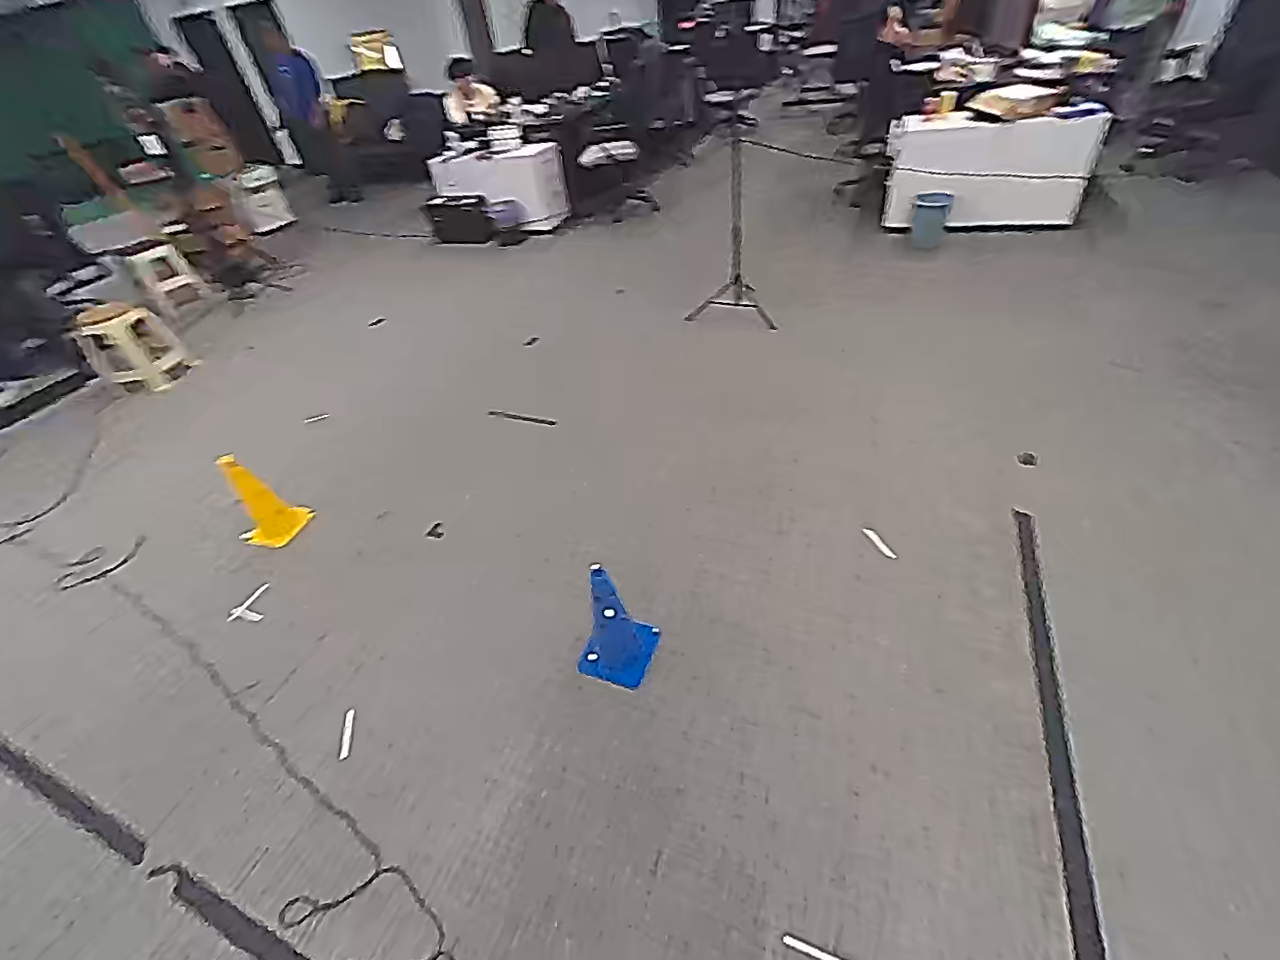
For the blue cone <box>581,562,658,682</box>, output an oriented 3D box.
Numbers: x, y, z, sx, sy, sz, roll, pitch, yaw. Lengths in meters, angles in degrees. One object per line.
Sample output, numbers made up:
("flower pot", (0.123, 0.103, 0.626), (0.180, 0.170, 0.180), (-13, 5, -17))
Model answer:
("blue cone", (-0.080, 0.364, 1.463), (0.193, 0.380, 0.192), (10, 44, 22))
